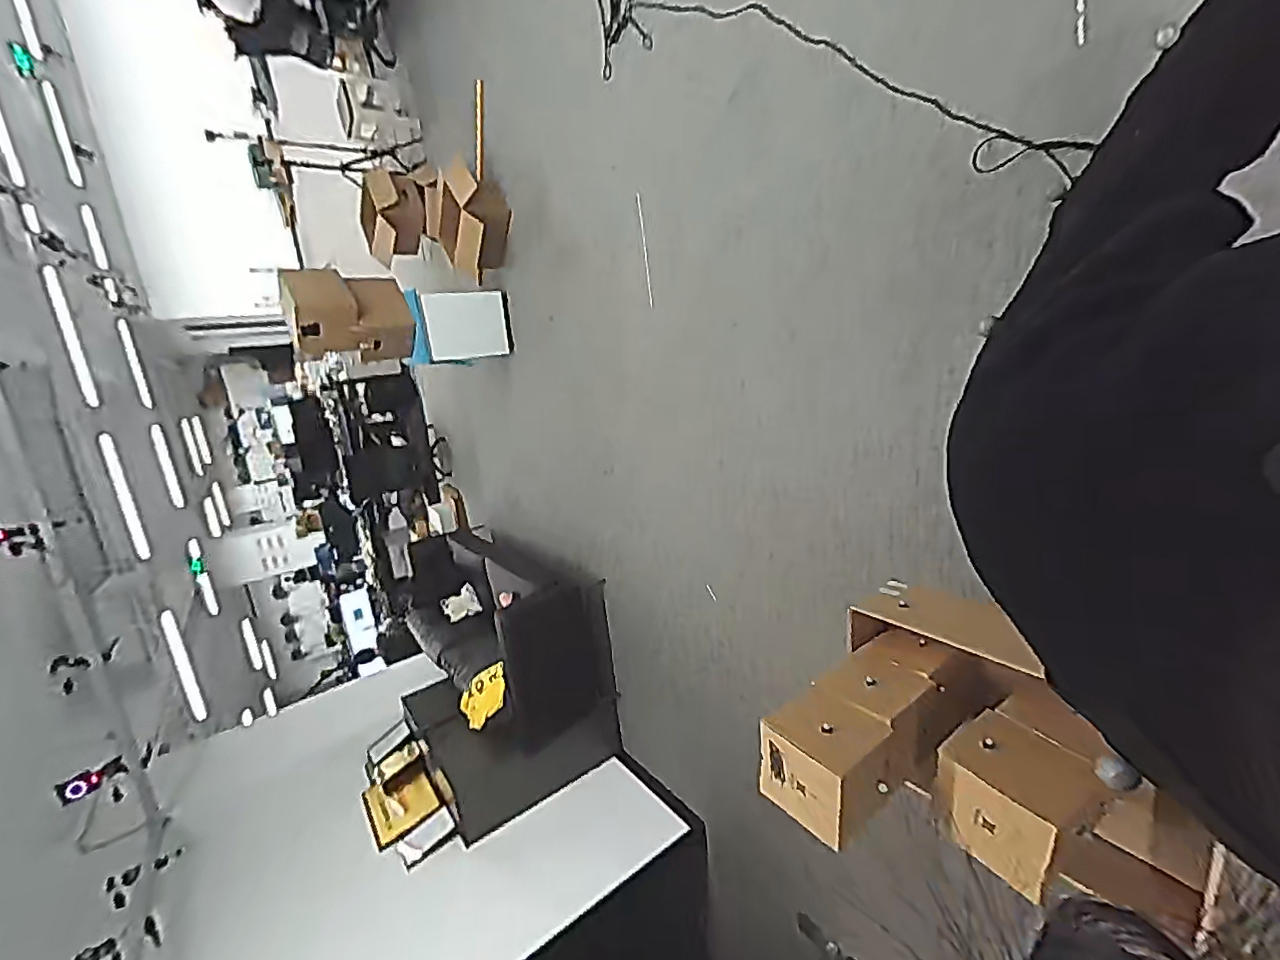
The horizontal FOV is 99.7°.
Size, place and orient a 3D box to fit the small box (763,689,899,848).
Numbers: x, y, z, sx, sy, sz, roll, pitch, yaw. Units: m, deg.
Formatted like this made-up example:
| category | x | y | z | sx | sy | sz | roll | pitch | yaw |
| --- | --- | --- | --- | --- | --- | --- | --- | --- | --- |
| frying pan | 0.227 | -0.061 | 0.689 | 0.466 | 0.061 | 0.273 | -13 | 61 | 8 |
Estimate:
| category | x | y | z | sx | sy | sz | roll | pitch | yaw |
| --- | --- | --- | --- | --- | --- | --- | --- | --- | --- |
| small box | 0.352 | 0.521 | 1.012 | 0.179 | 0.176 | 0.168 | 18 | 117 | 51 |

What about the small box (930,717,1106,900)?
| category | x | y | z | sx | sy | sz | roll | pitch | yaw |
| --- | --- | --- | --- | --- | --- | --- | --- | --- | --- |
| small box | 0.628 | 0.532 | 0.909 | 0.179 | 0.176 | 0.168 | 25 | 124 | 53 |
